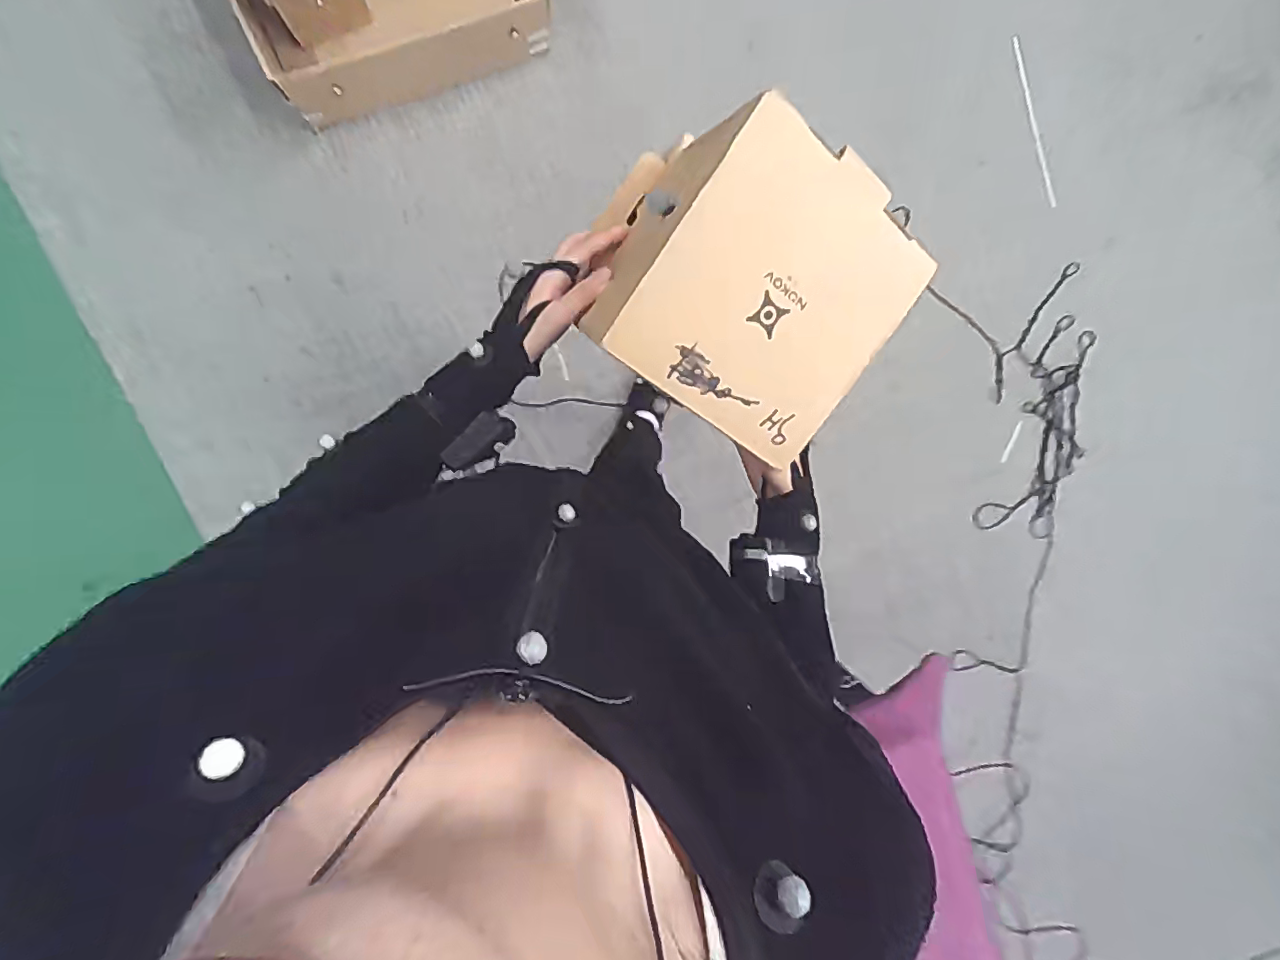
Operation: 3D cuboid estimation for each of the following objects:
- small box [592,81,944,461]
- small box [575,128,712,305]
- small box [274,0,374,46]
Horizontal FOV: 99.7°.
[{"bbox_3d":[0.078,-0.148,0.423,0.168,0.176,0.179,32,100,-22],"label":"small box"},{"bbox_3d":[0.049,-0.217,0.571,0.179,0.176,0.168,34,100,-22],"label":"small box"},{"bbox_3d":[-0.694,-1.063,1.129,0.179,0.176,0.168,-27,102,-7],"label":"small box"}]
